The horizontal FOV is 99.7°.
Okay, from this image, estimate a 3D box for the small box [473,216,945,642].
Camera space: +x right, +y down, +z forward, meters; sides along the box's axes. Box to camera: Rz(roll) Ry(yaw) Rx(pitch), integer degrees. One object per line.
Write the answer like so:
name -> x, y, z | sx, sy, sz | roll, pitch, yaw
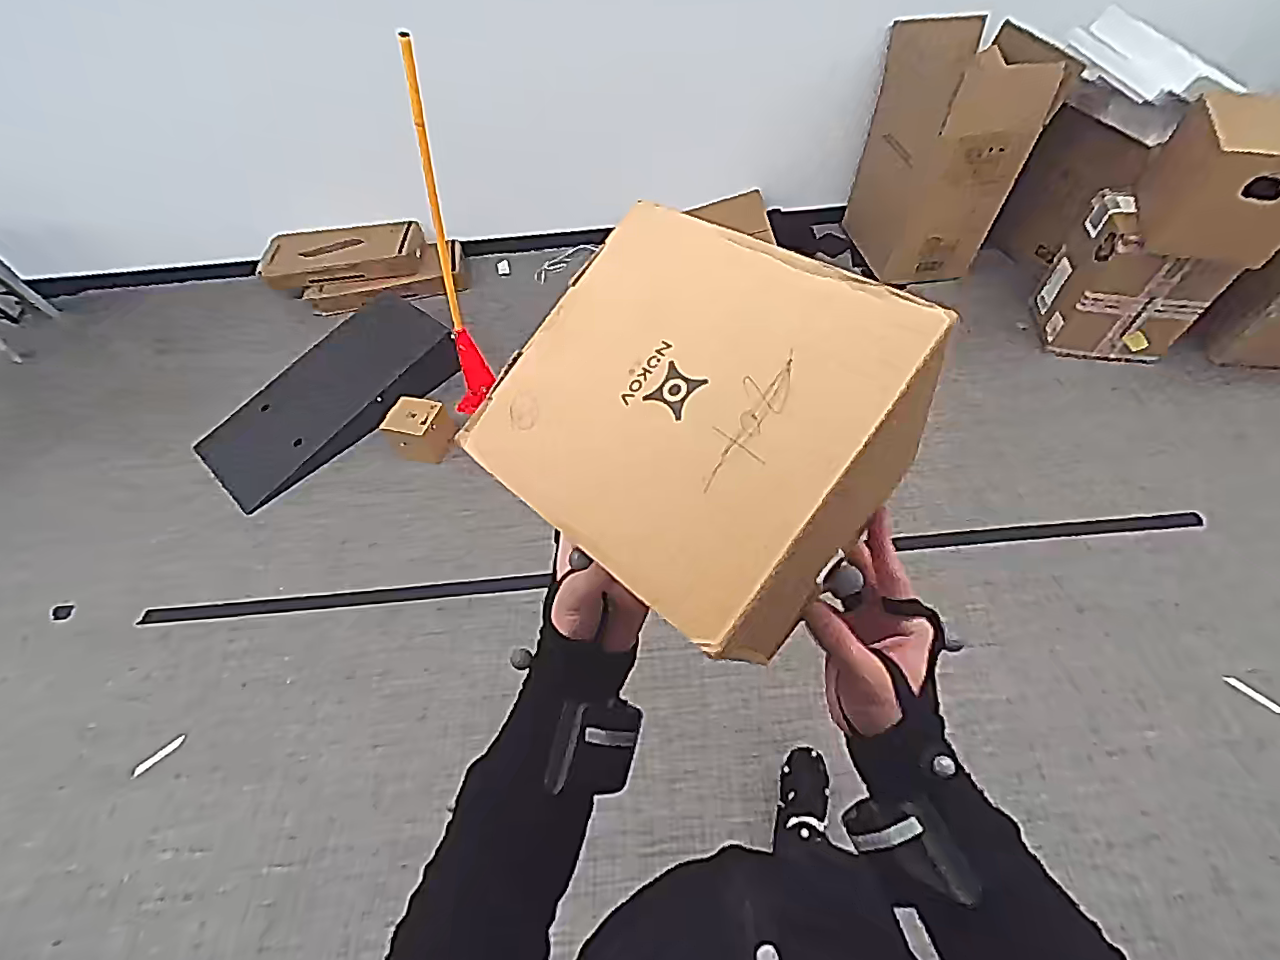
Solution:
small box -> 0.044, -0.016, 0.330 | 0.179, 0.176, 0.168 | 34, 87, 26
